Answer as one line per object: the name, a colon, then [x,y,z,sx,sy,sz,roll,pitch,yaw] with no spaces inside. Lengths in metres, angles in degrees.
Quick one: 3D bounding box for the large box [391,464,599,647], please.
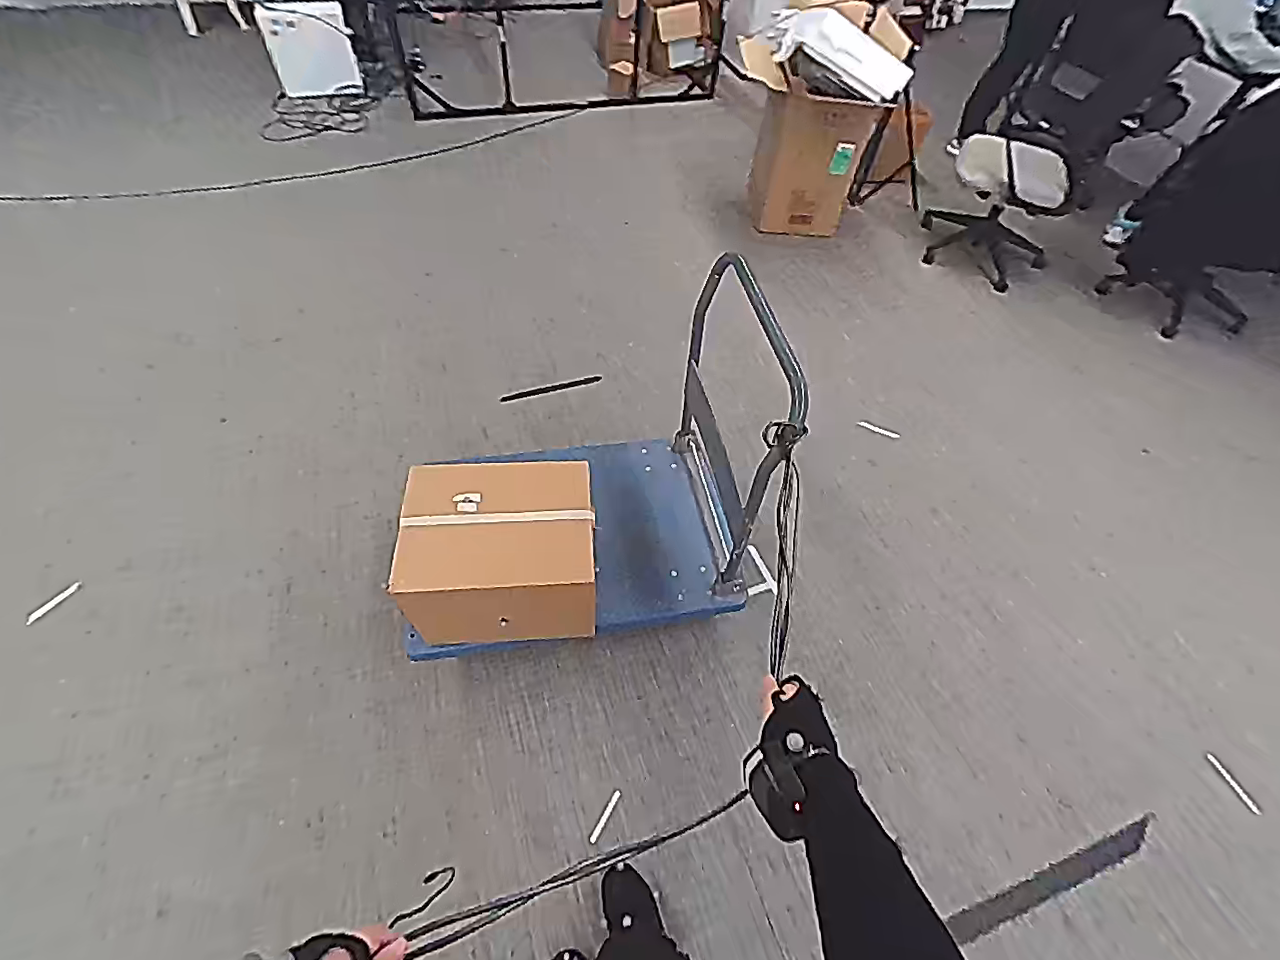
large box: [-0.307,0.182,1.269,0.408,0.320,0.320,-2,53,-6]
